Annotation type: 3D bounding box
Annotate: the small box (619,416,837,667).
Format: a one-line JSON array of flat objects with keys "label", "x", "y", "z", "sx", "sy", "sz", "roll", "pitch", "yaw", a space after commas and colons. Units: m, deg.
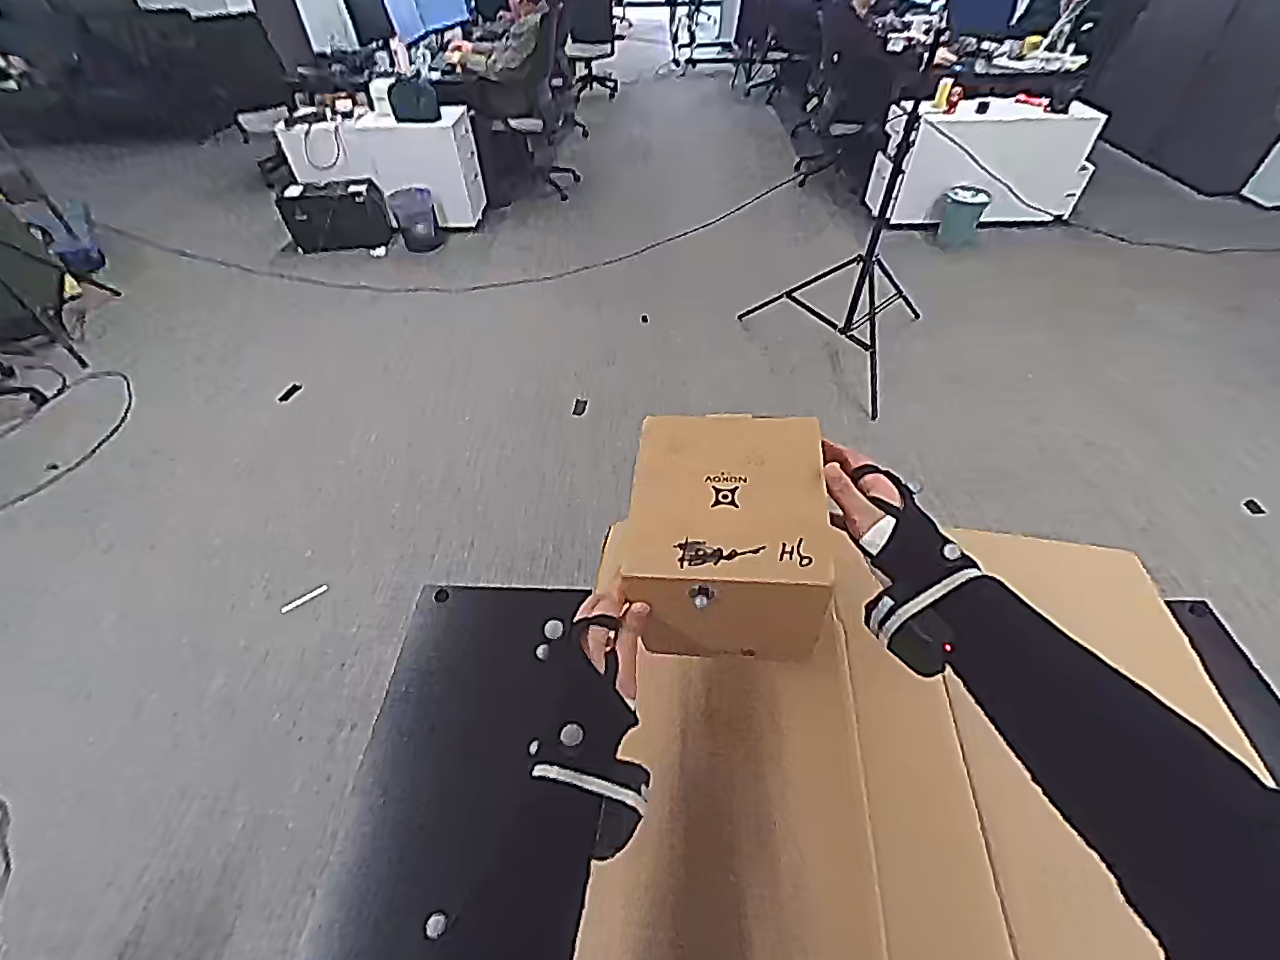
[{"label": "small box", "x": 0.085, "y": 0.057, "z": 0.516, "sx": 0.168, "sy": 0.176, "sz": 0.179, "roll": 0, "pitch": 52, "yaw": 11}]
